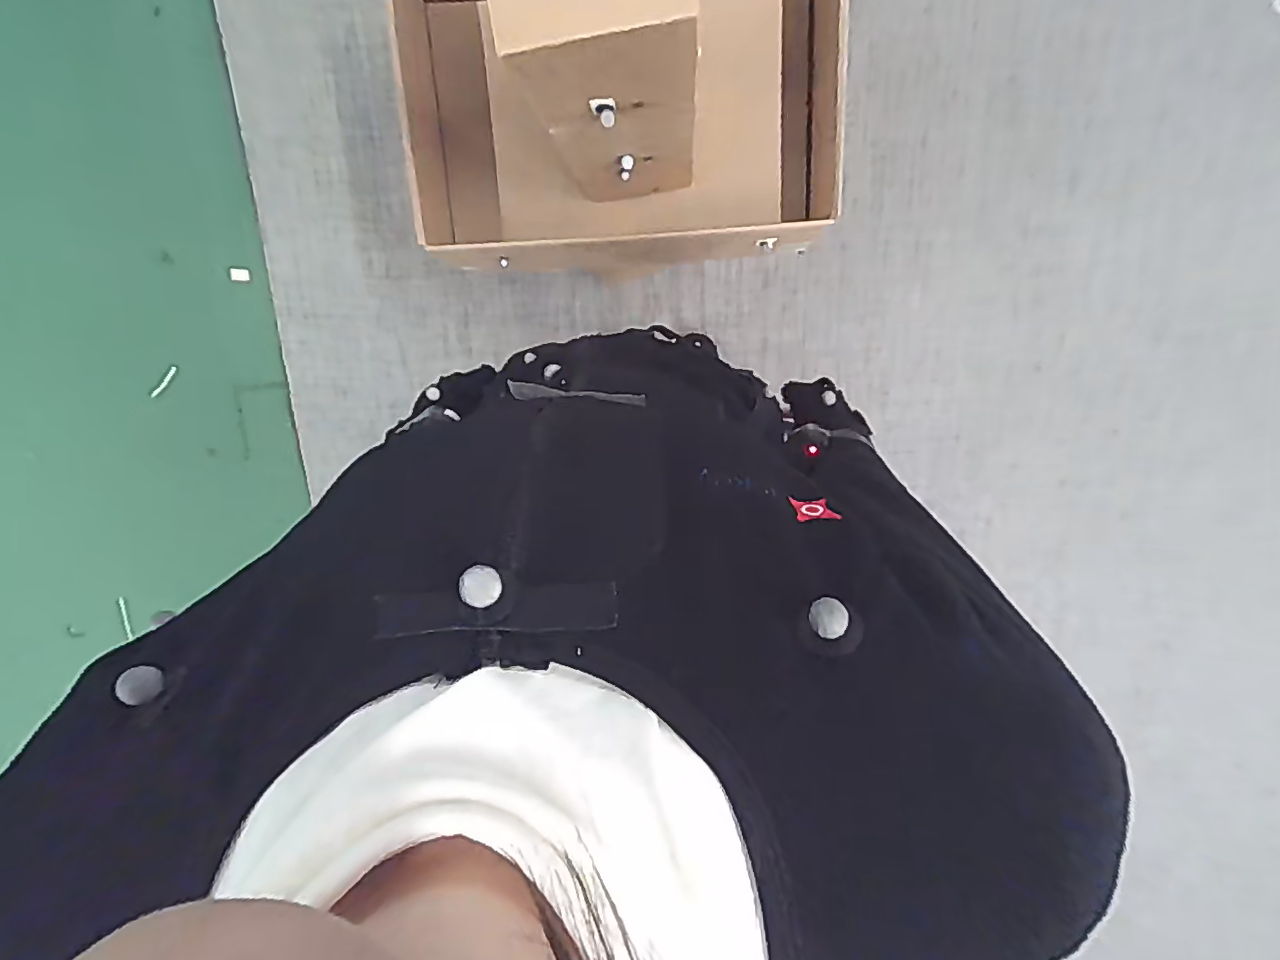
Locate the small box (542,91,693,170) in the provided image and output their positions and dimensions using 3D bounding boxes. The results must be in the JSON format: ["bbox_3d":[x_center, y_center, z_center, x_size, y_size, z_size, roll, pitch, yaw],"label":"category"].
[{"bbox_3d":[-0.029,-0.497,0.640,0.168,0.176,0.179,-6,104,6],"label":"small box"}]

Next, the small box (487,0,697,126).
[{"bbox_3d":[-0.041,-0.456,0.484,0.168,0.176,0.179,-6,105,7],"label":"small box"}]

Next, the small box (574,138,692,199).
[{"bbox_3d":[-0.015,-0.542,0.797,0.168,0.176,0.179,-6,103,7],"label":"small box"}]
